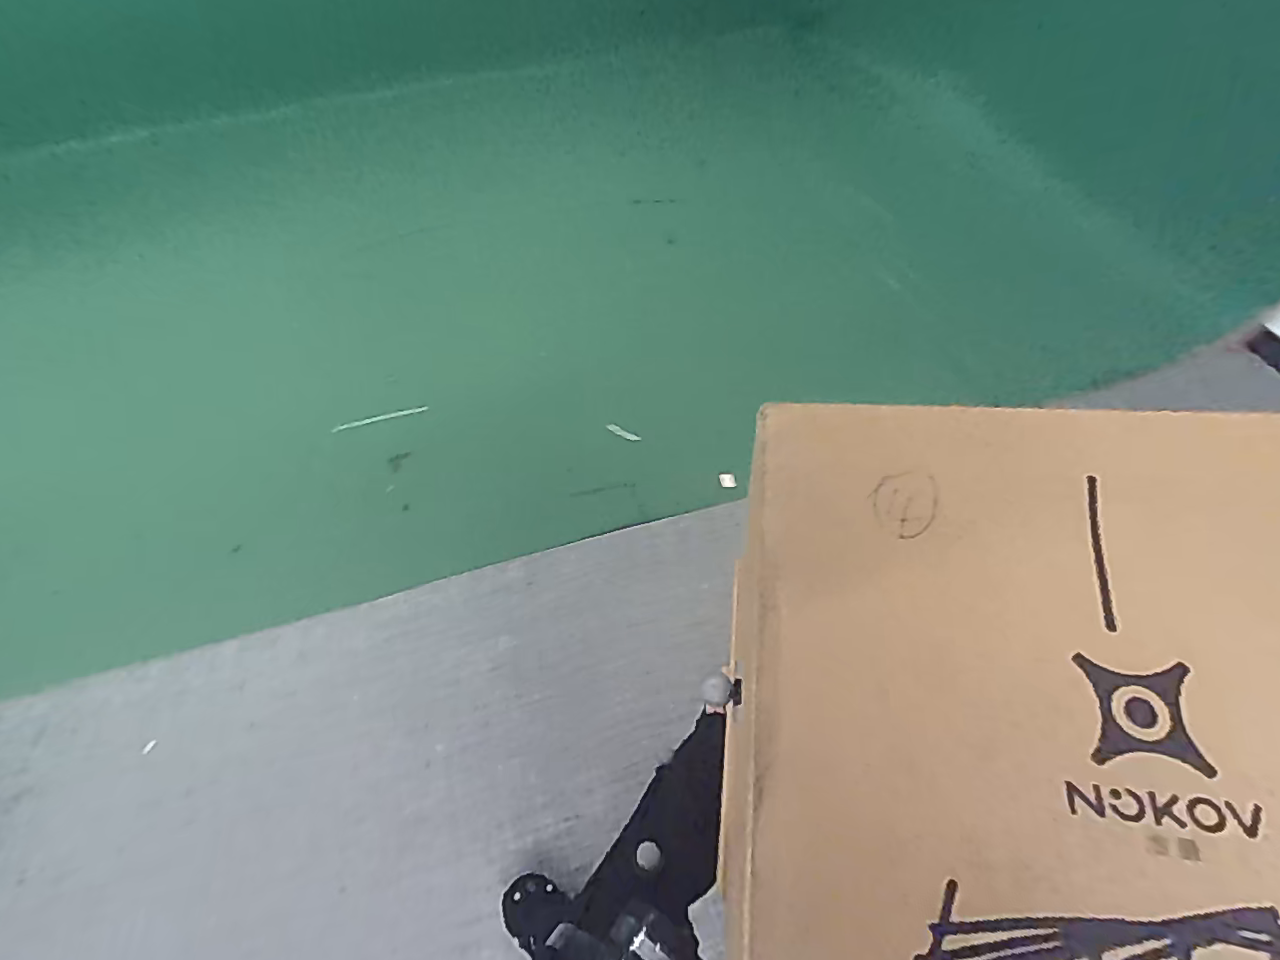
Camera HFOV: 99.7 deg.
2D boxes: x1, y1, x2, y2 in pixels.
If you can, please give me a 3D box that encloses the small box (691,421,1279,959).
[{"bbox_3d":[0.108,0.096,0.197,0.168,0.176,0.179,2,65,9],"label":"small box"}]
